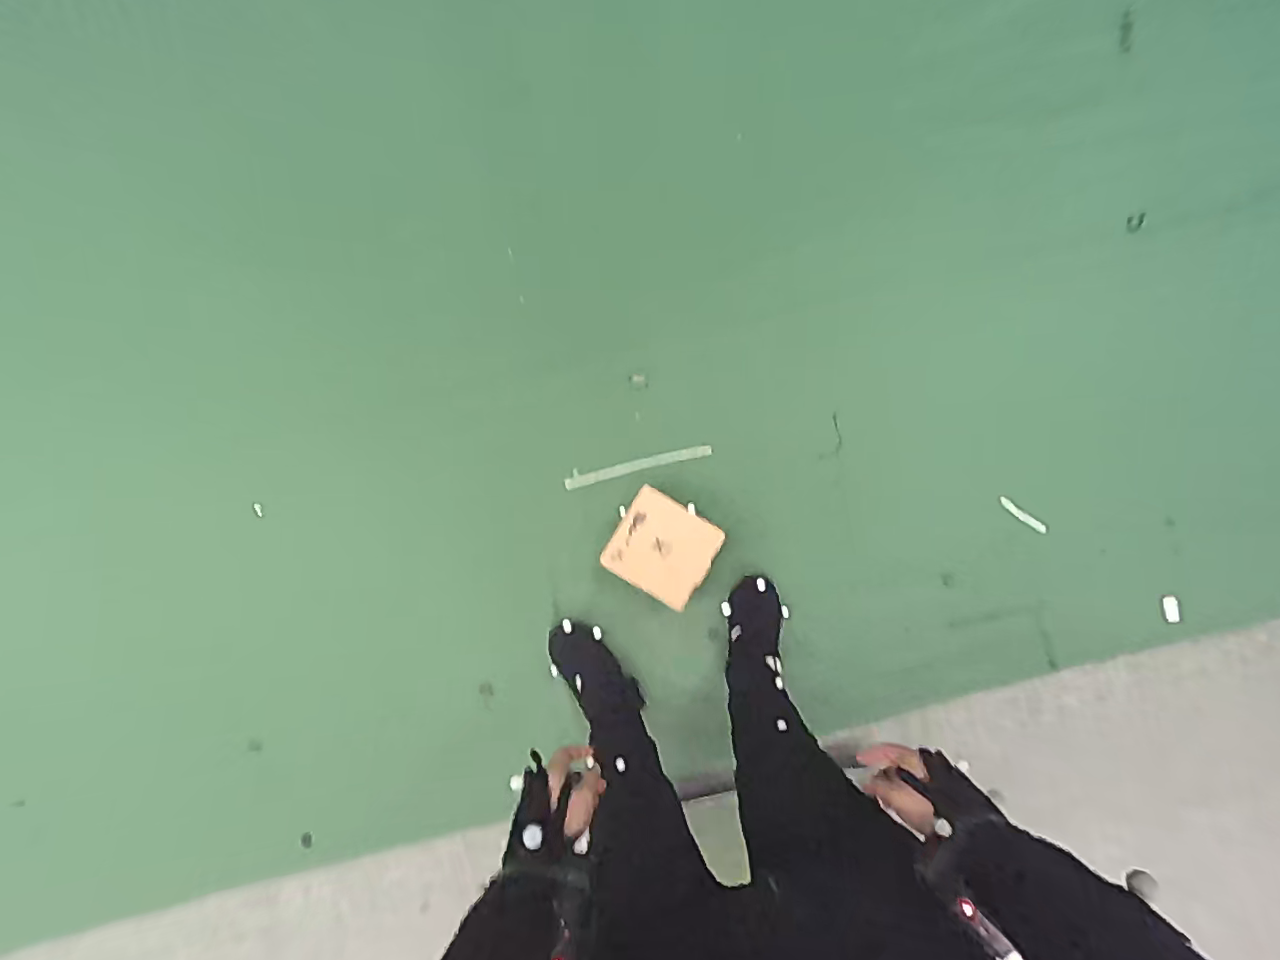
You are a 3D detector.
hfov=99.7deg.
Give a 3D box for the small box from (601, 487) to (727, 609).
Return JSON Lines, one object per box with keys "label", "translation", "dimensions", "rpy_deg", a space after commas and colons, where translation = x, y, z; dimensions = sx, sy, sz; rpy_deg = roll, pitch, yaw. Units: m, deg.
{"label": "small box", "translation": [0.042, 0.121, 1.058], "dimensions": [0.179, 0.176, 0.168], "rpy_deg": [32, 89, -1]}
